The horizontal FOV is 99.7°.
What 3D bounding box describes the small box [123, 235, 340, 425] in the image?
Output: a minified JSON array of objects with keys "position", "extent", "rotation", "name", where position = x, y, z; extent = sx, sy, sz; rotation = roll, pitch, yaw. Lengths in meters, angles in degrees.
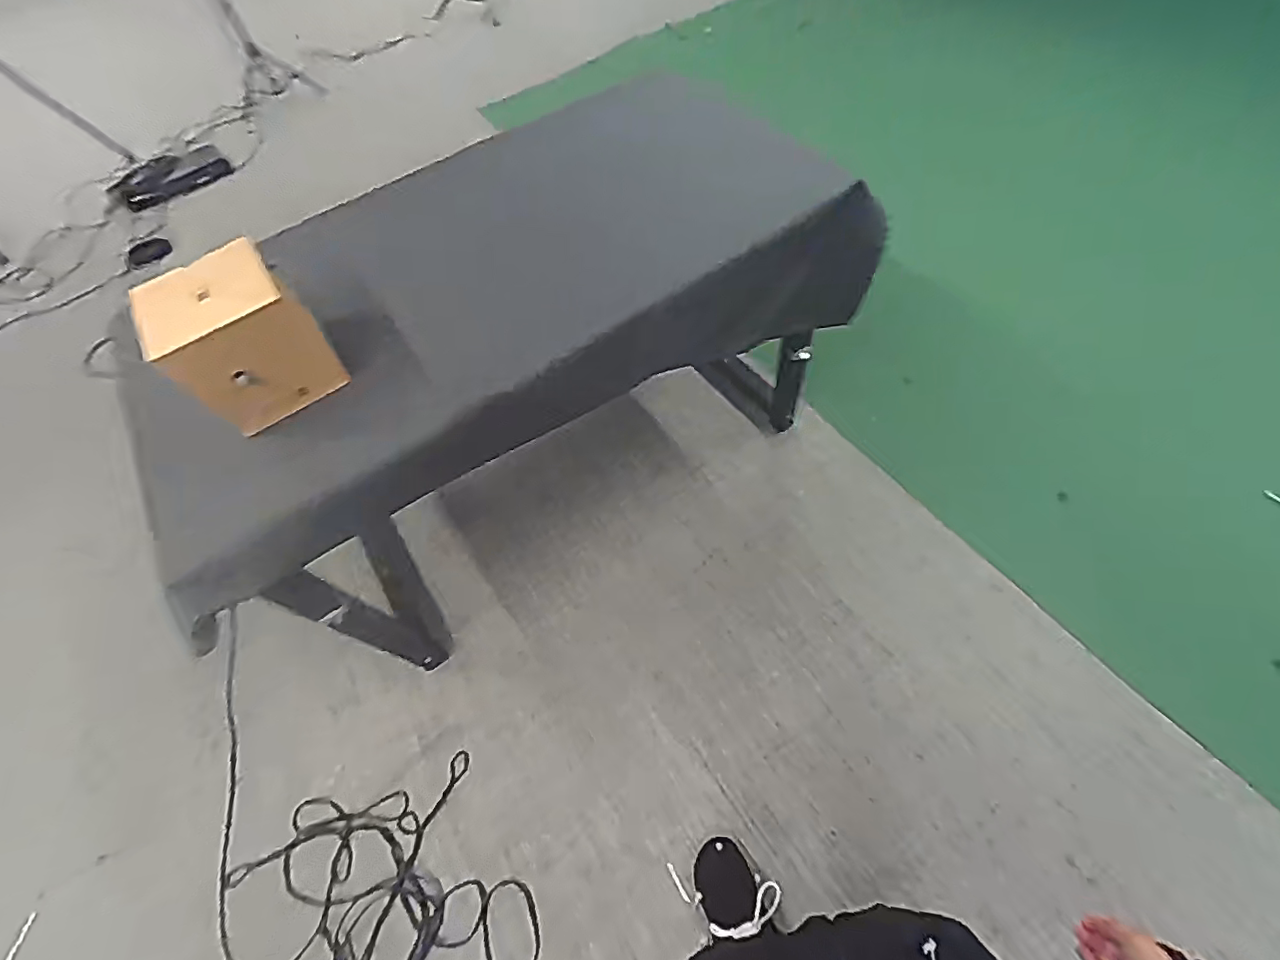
[{"position":[-0.567,-0.202,0.769],"extent":[0.168,0.176,0.179],"rotation":[-35,61,-13],"name":"small box"}]
